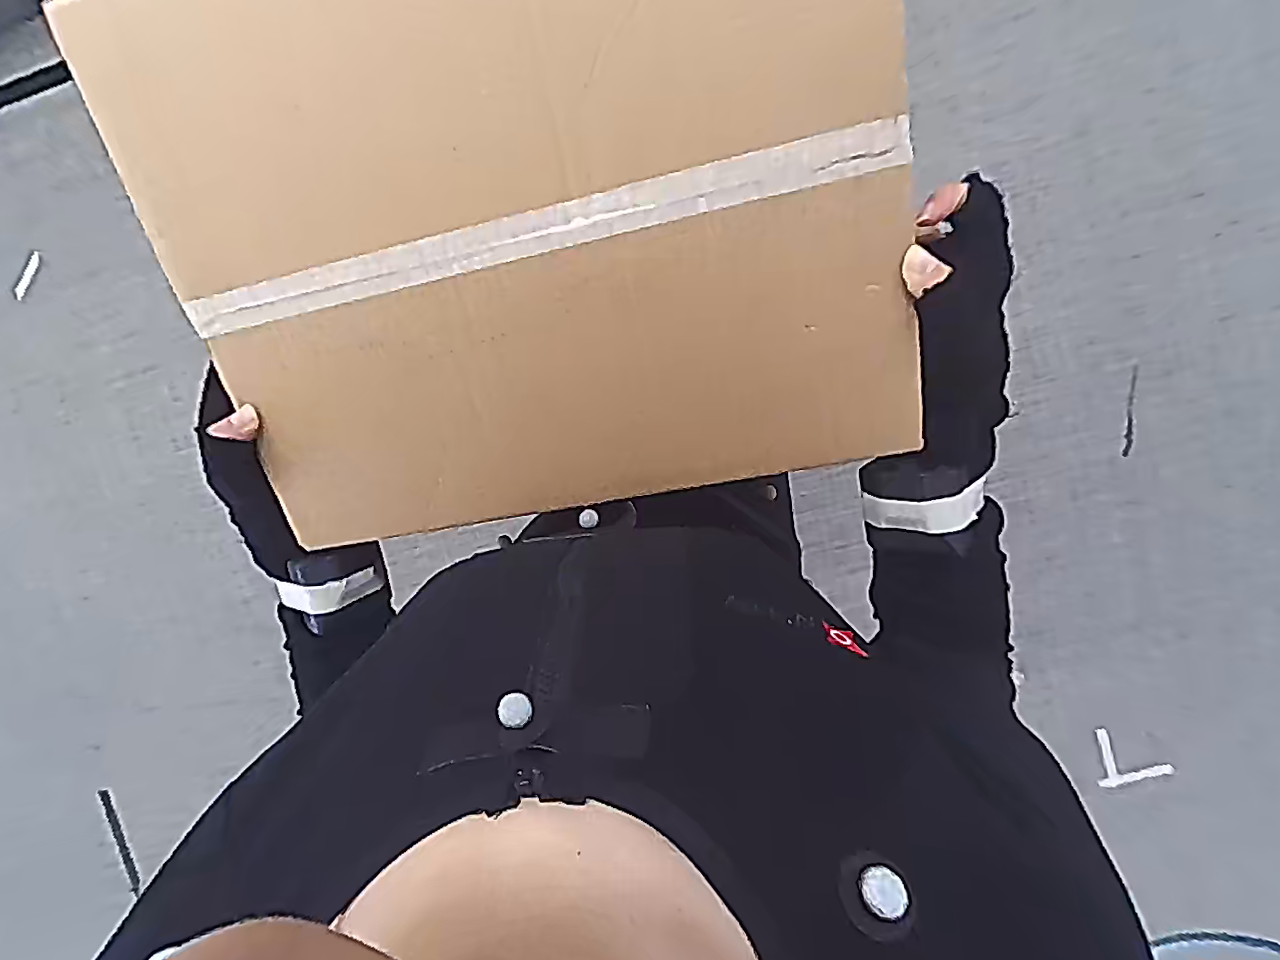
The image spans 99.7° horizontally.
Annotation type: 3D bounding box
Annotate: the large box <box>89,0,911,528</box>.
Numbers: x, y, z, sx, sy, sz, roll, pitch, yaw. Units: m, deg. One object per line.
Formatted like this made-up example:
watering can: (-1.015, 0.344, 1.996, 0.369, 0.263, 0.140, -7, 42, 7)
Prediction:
large box: (-0.055, -0.191, 0.437, 0.408, 0.320, 0.320, -10, 110, 9)
